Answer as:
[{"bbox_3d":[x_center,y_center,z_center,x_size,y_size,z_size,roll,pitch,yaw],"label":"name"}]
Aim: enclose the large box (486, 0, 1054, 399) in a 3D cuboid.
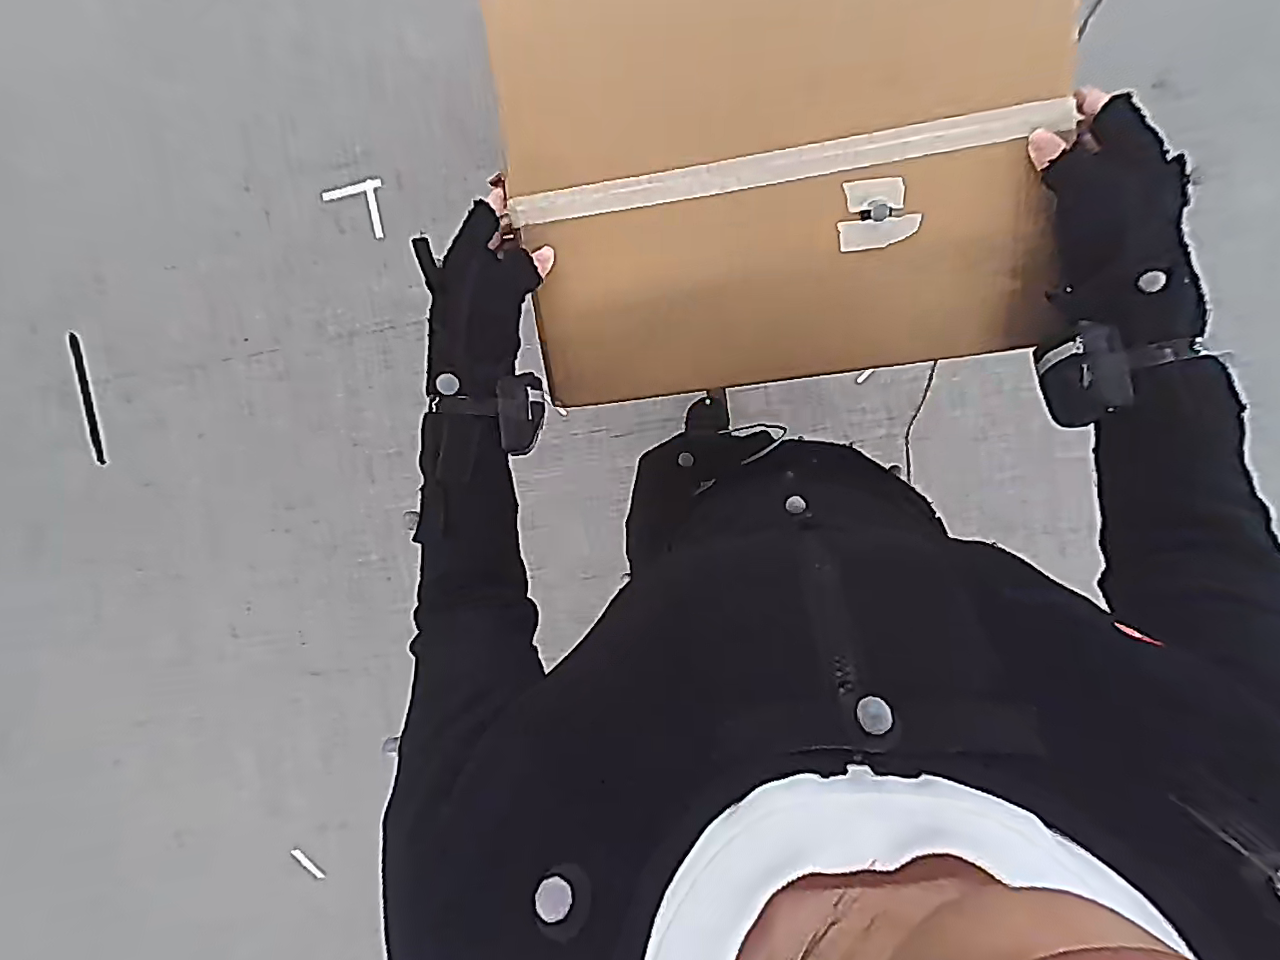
[{"bbox_3d":[0.111,-0.279,0.559,0.408,0.320,0.320,-7,105,6],"label":"large box"}]
